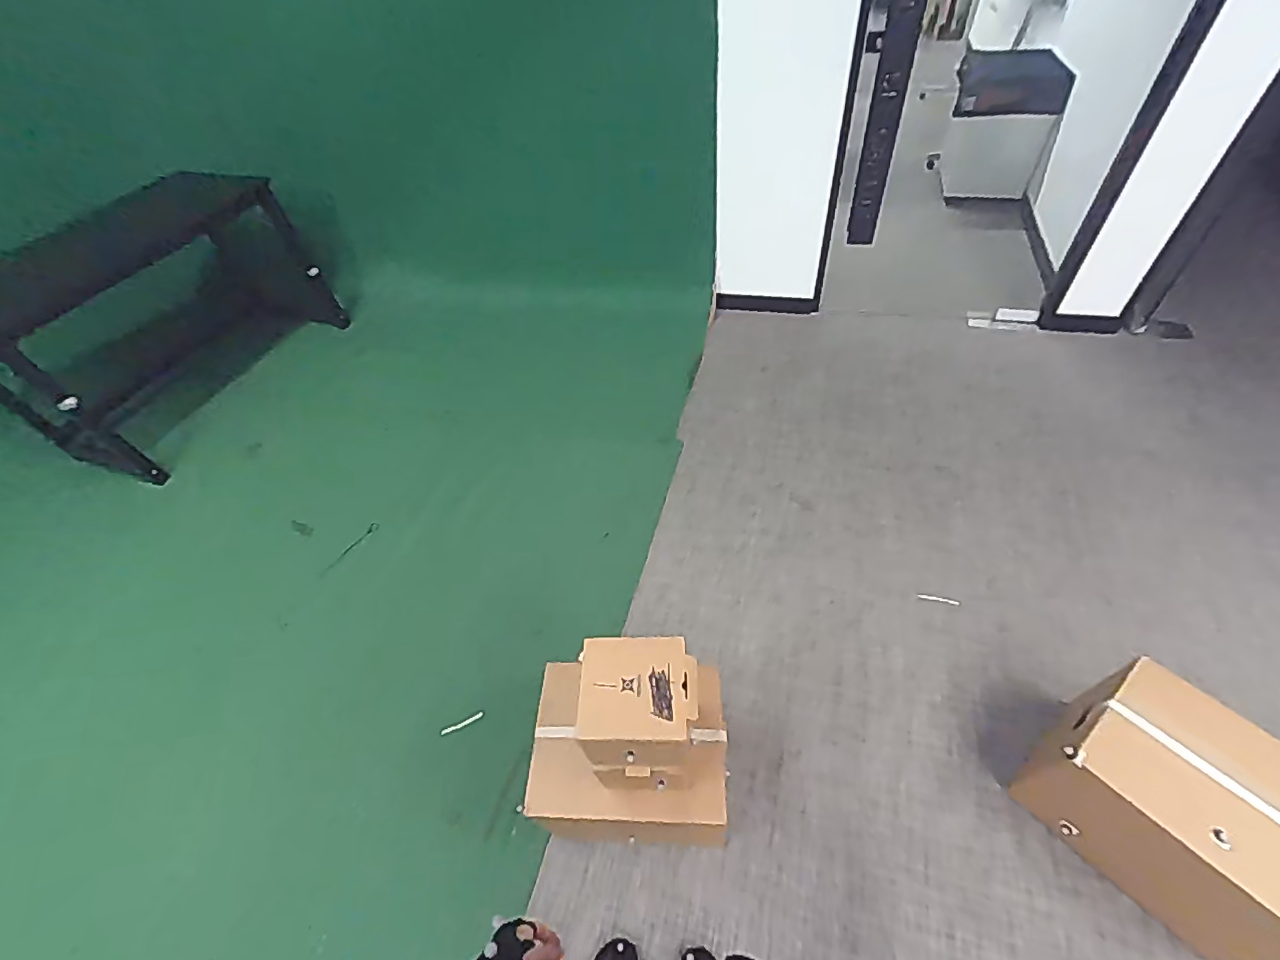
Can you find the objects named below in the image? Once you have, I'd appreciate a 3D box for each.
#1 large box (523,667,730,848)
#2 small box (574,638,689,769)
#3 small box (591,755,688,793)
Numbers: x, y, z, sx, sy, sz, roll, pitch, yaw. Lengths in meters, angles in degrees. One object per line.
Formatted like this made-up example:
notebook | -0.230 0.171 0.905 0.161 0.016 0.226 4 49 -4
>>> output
large box | -0.009 0.642 1.242 0.408 0.320 0.320 -3 48 7
small box | -0.004 0.382 0.923 0.179 0.176 0.168 -2 49 6
small box | 0.008 0.491 1.045 0.168 0.176 0.179 -1 49 6
